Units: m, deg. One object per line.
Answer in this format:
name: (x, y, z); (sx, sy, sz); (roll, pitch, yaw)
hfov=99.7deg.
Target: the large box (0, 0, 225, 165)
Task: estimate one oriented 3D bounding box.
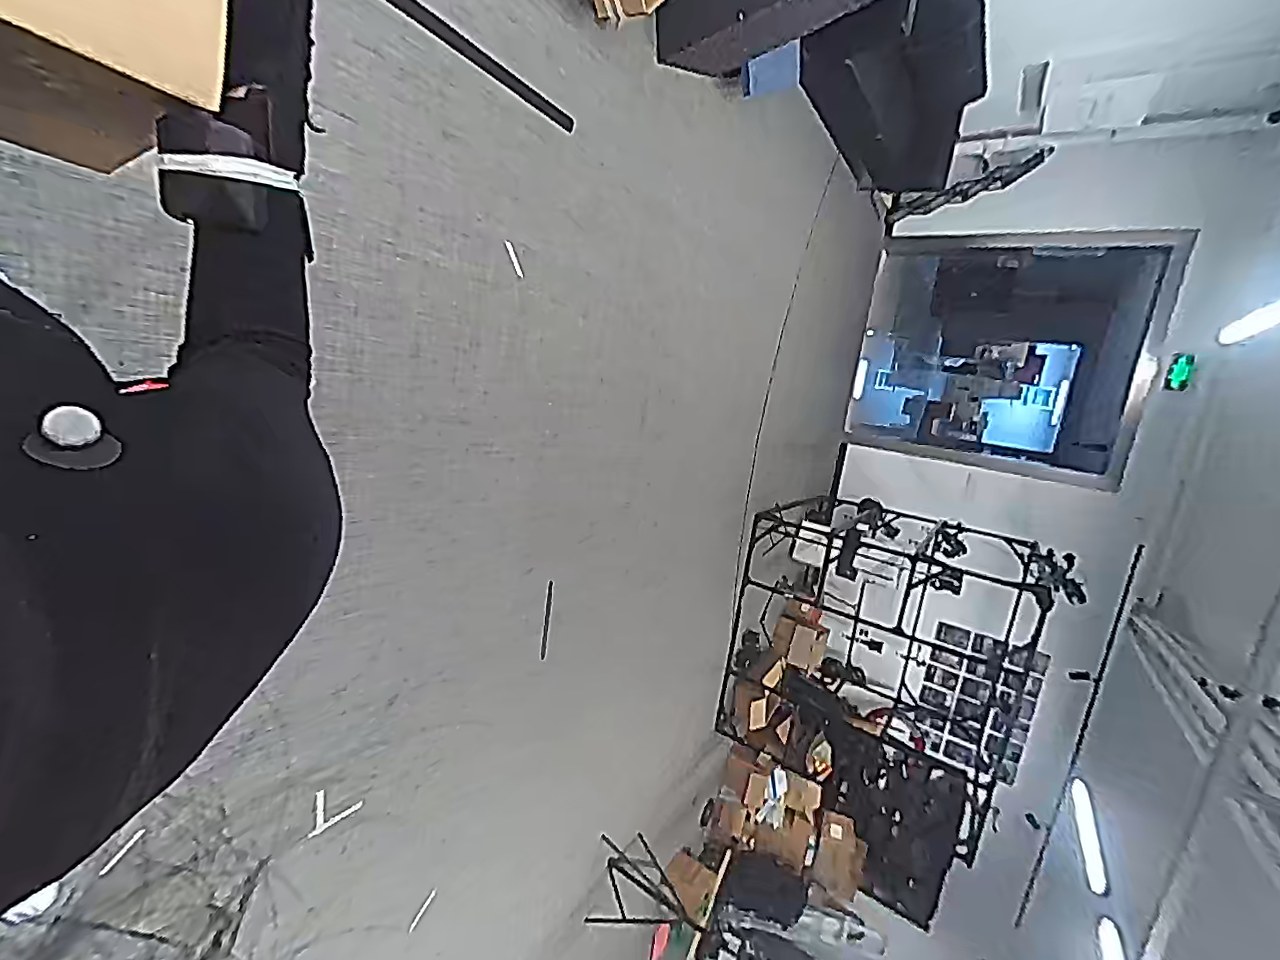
large box: (-0.494, -0.421, 0.266); (0.408, 0.320, 0.320); (-1, 103, -55)
